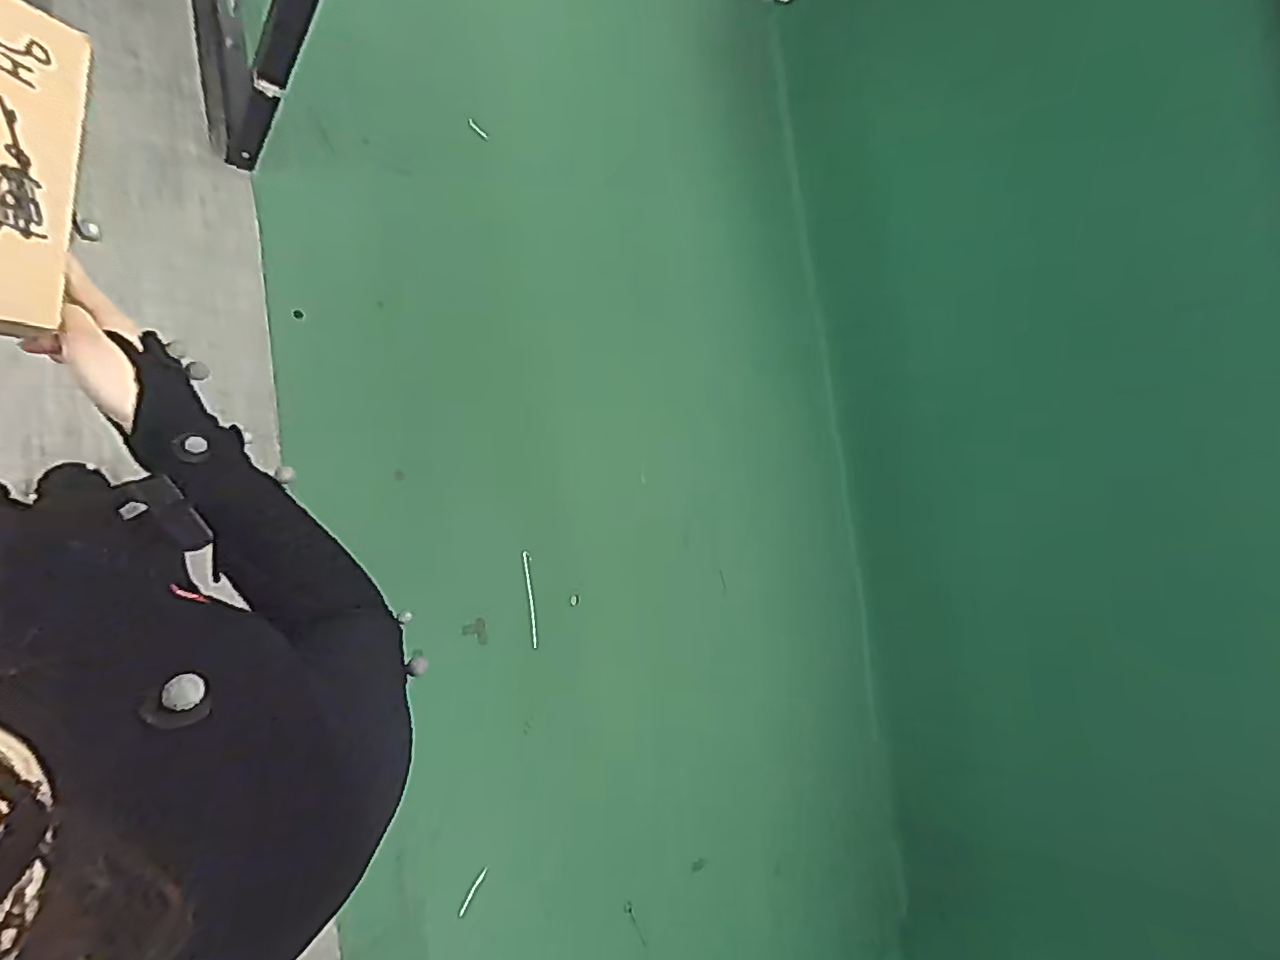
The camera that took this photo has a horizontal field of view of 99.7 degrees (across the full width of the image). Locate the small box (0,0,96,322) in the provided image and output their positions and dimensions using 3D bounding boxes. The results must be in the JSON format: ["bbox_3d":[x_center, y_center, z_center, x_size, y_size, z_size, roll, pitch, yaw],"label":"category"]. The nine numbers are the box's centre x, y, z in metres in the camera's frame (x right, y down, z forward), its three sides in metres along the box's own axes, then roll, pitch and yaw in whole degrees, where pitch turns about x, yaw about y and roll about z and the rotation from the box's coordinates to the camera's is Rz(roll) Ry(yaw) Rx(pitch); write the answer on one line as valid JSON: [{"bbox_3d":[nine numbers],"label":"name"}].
[{"bbox_3d":[-0.430,-0.188,0.288,0.179,0.176,0.168,6,94,-50],"label":"small box"}]
